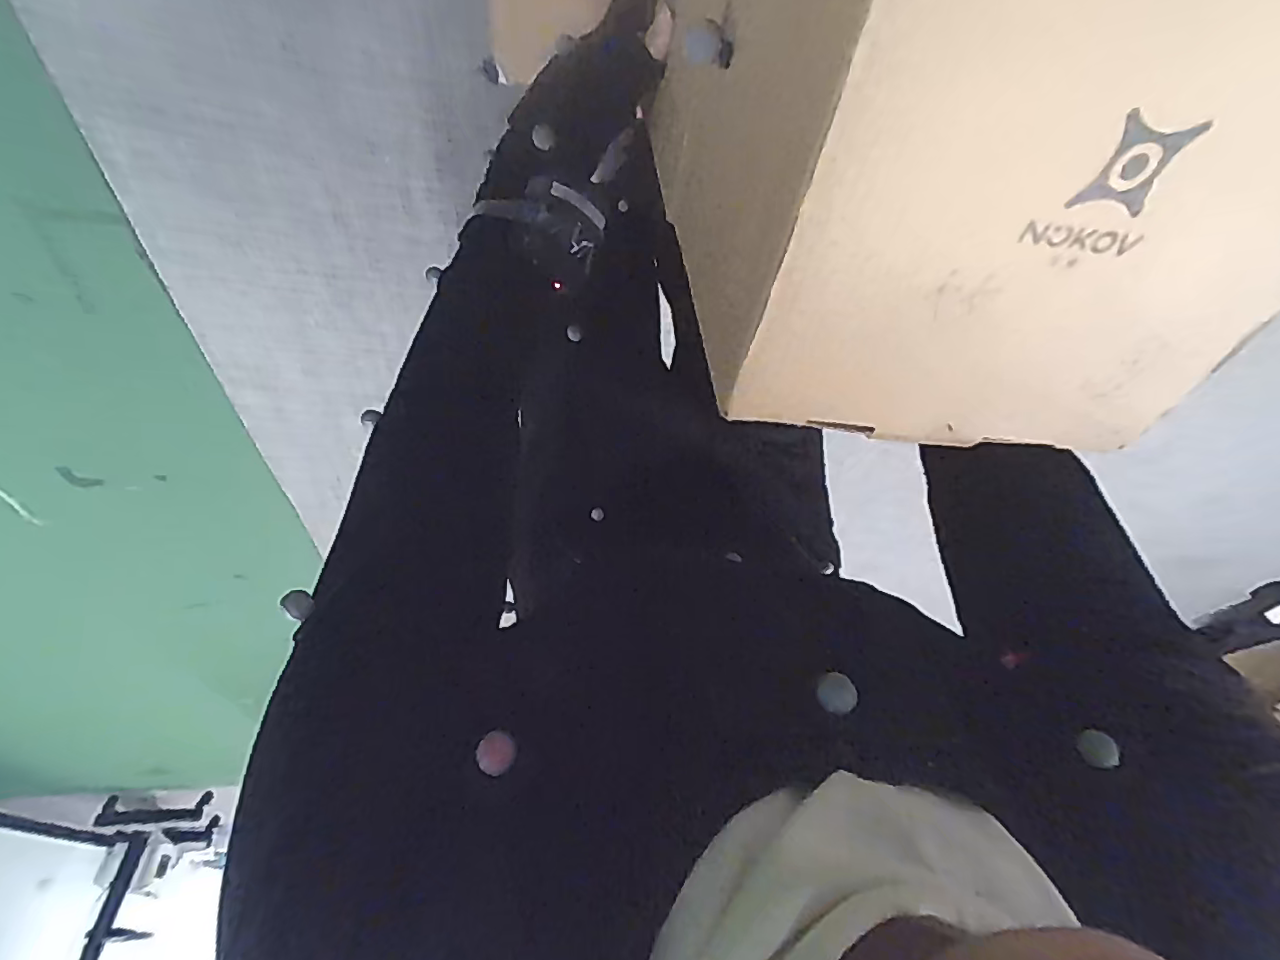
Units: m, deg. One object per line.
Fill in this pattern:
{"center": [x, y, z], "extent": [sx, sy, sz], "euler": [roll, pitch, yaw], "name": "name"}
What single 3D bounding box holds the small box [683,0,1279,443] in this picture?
{"center": [0.113, -0.137, 0.197], "extent": [0.168, 0.176, 0.179], "euler": [3, 139, -7], "name": "small box"}
